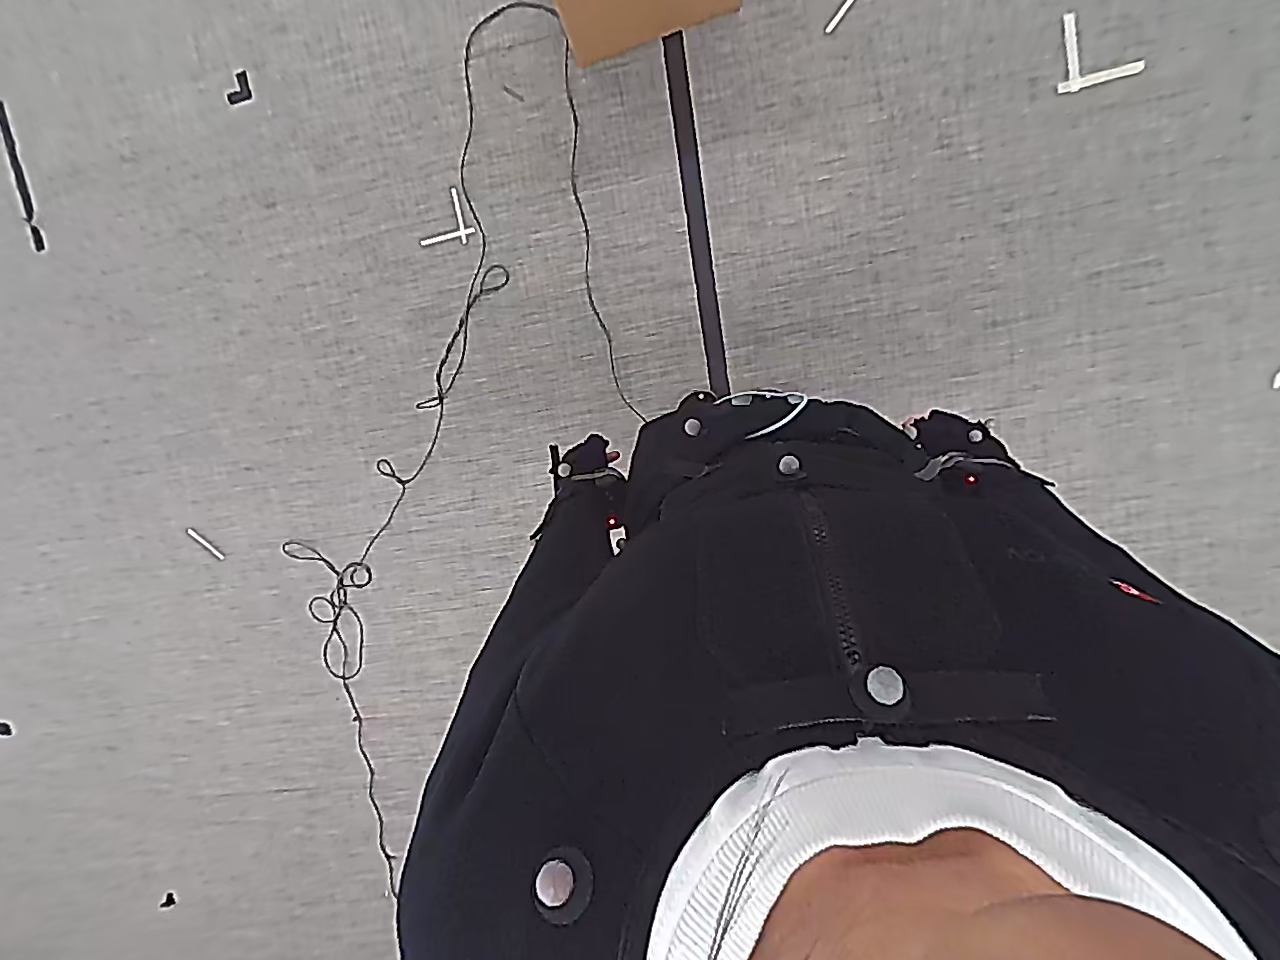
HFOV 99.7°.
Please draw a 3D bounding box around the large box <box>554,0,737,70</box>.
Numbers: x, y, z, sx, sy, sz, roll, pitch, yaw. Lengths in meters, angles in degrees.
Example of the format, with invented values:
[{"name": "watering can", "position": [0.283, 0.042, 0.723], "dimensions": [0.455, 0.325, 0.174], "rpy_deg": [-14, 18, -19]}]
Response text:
[{"name": "large box", "position": [-0.018, -1.165, 1.125], "dimensions": [0.408, 0.320, 0.320], "rpy_deg": [-15, 99, 8]}]
